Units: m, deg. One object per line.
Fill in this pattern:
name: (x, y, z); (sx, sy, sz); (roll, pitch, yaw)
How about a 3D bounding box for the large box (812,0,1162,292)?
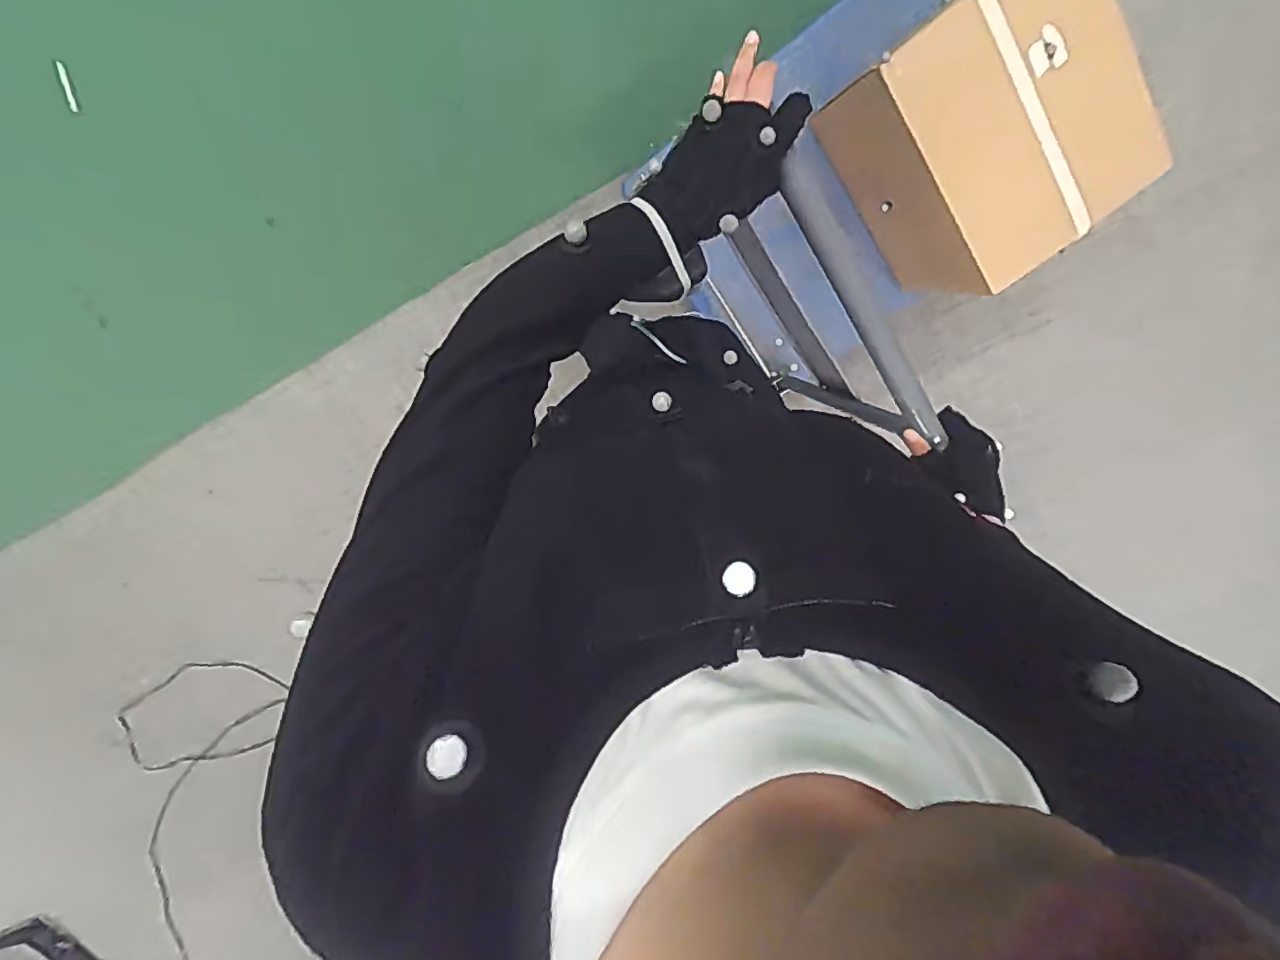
large box: (0.579, -0.597, 0.964); (0.320, 0.320, 0.408); (-37, 107, 10)
